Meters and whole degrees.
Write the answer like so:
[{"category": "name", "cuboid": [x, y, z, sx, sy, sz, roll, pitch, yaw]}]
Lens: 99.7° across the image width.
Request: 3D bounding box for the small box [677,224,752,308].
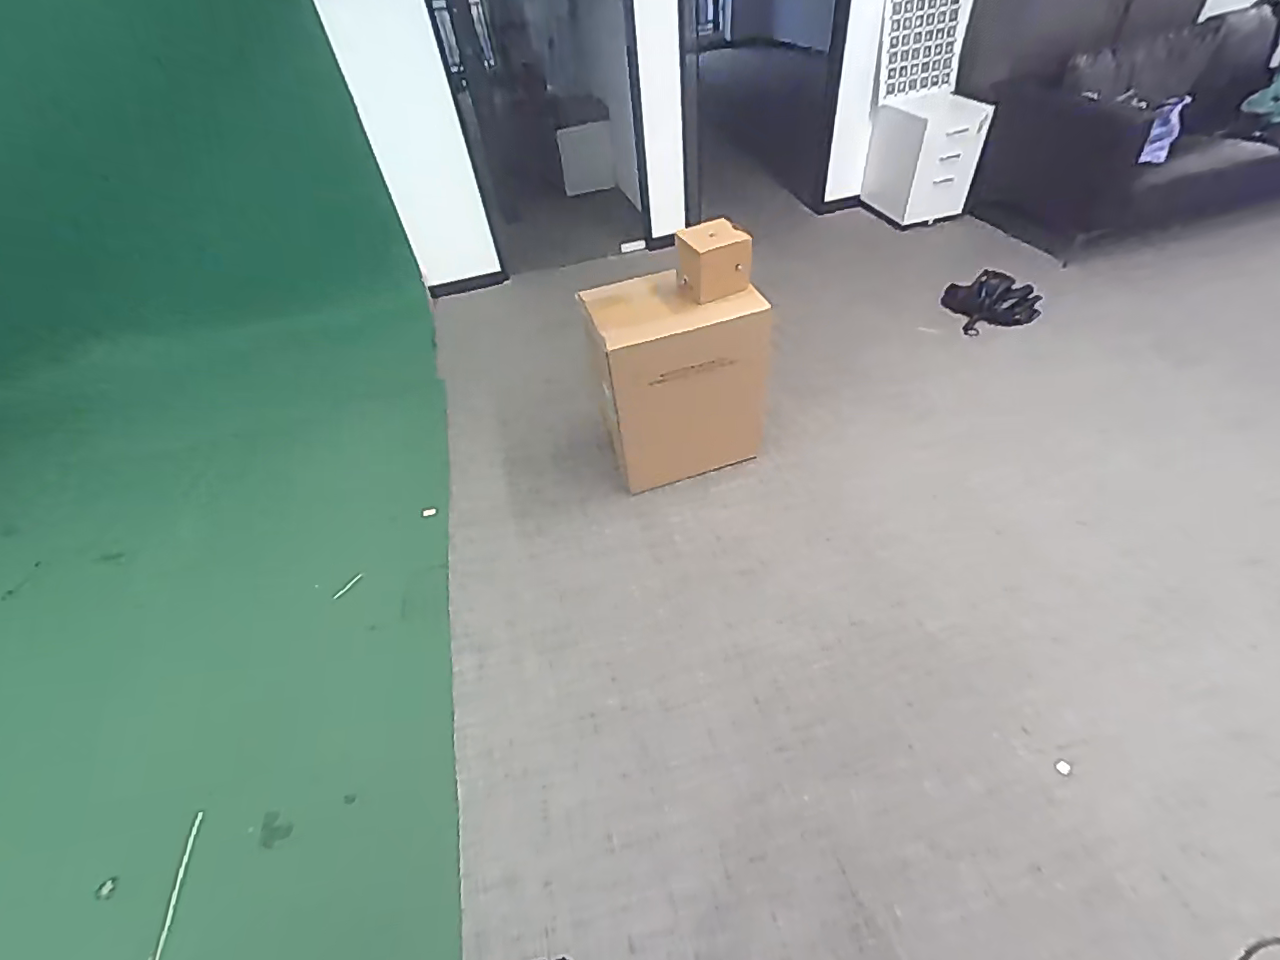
[{"category": "small box", "cuboid": [0.230, -0.668, 1.691, 0.179, 0.176, 0.168, -23, 50, -12]}]
